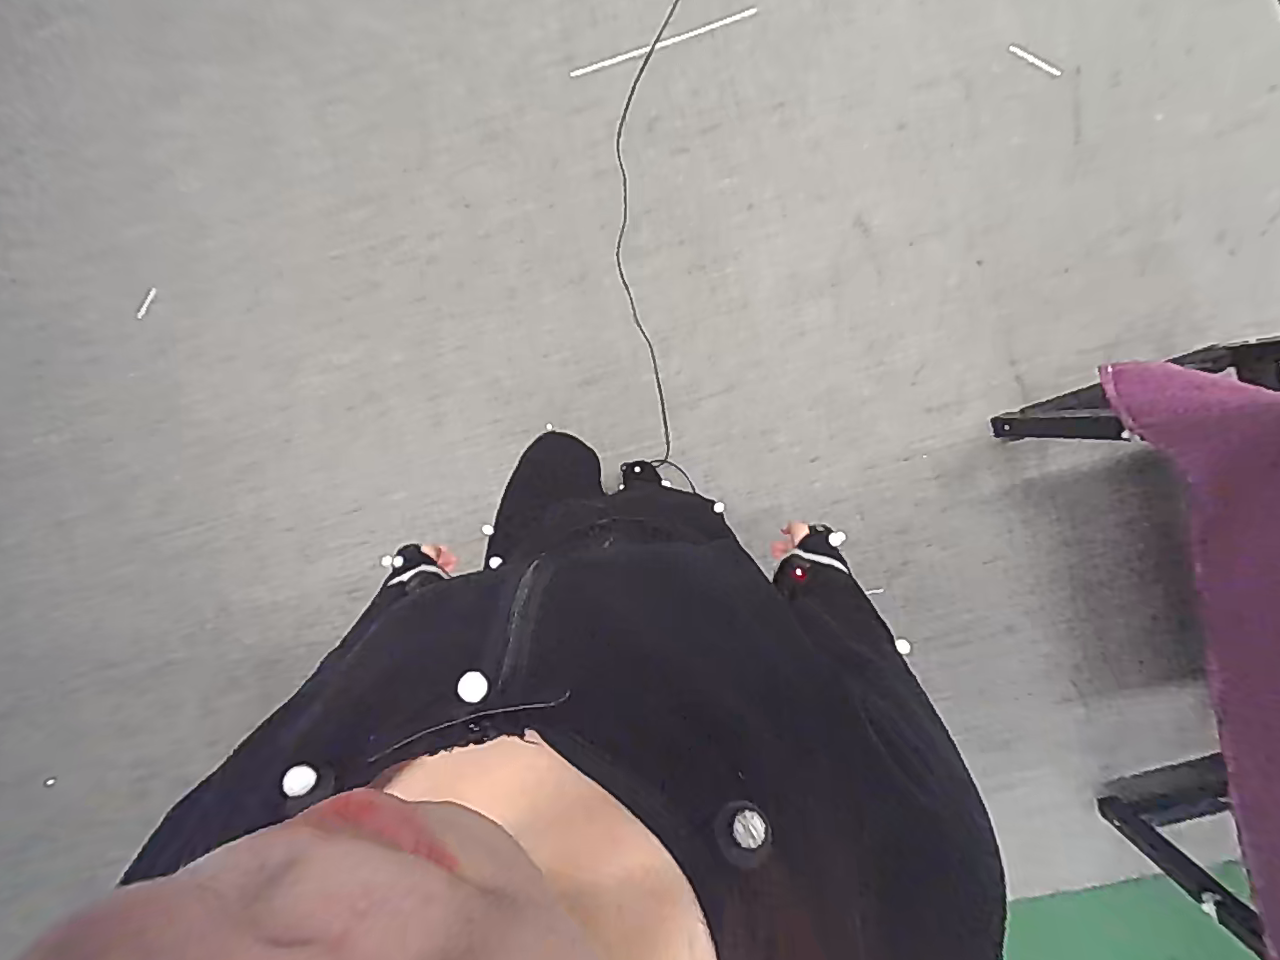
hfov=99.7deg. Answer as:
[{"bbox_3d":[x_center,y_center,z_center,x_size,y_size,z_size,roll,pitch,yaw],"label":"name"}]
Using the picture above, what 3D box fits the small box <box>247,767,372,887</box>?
[{"bbox_3d":[-0.734,0.777,1.226,0.179,0.176,0.168,-7,95,6],"label":"small box"}]
